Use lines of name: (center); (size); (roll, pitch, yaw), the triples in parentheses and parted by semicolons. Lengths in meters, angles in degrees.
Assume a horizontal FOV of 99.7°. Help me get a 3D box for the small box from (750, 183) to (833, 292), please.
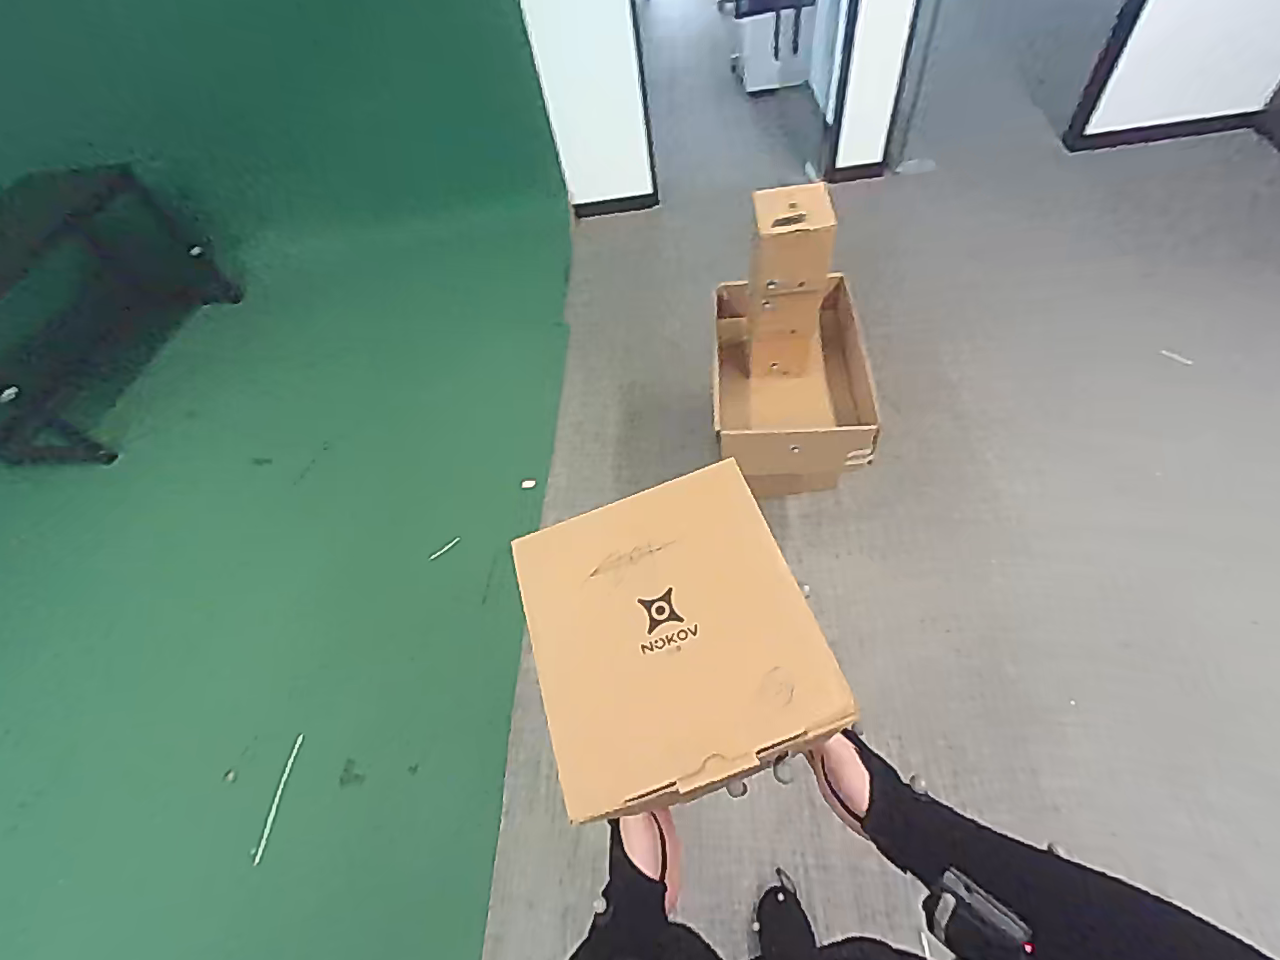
small box: (0.352, -0.567, 1.286); (0.168, 0.176, 0.179); (-4, 57, 7)

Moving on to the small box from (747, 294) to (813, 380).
small box: (0.400, -0.413, 1.573); (0.168, 0.176, 0.179); (-2, 58, 8)

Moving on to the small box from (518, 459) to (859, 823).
small box: (0.032, 0.119, 0.391); (0.168, 0.176, 0.179); (-20, 58, 1)
